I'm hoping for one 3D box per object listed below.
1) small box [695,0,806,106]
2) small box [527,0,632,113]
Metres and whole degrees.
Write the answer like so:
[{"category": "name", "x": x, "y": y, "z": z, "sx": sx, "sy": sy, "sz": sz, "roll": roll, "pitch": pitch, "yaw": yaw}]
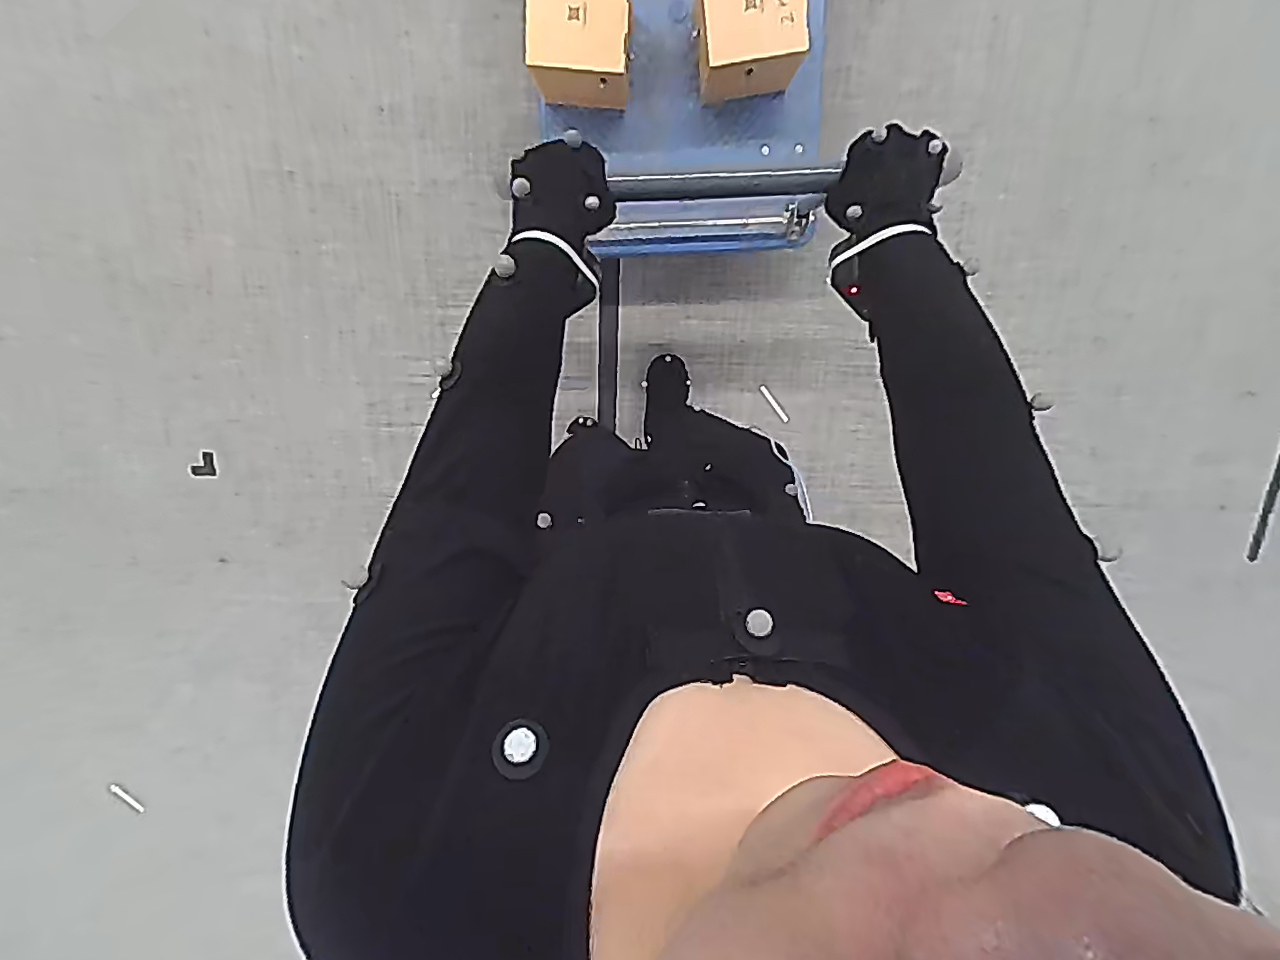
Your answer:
[{"category": "small box", "x": 0.196, "y": -0.826, "z": 1.004, "sx": 0.179, "sy": 0.176, "sz": 0.168, "roll": -7, "pitch": 106, "yaw": 3}, {"category": "small box", "x": -0.108, "y": -0.814, "z": 1.011, "sx": 0.179, "sy": 0.176, "sz": 0.168, "roll": 3, "pitch": 106, "yaw": -2}]
